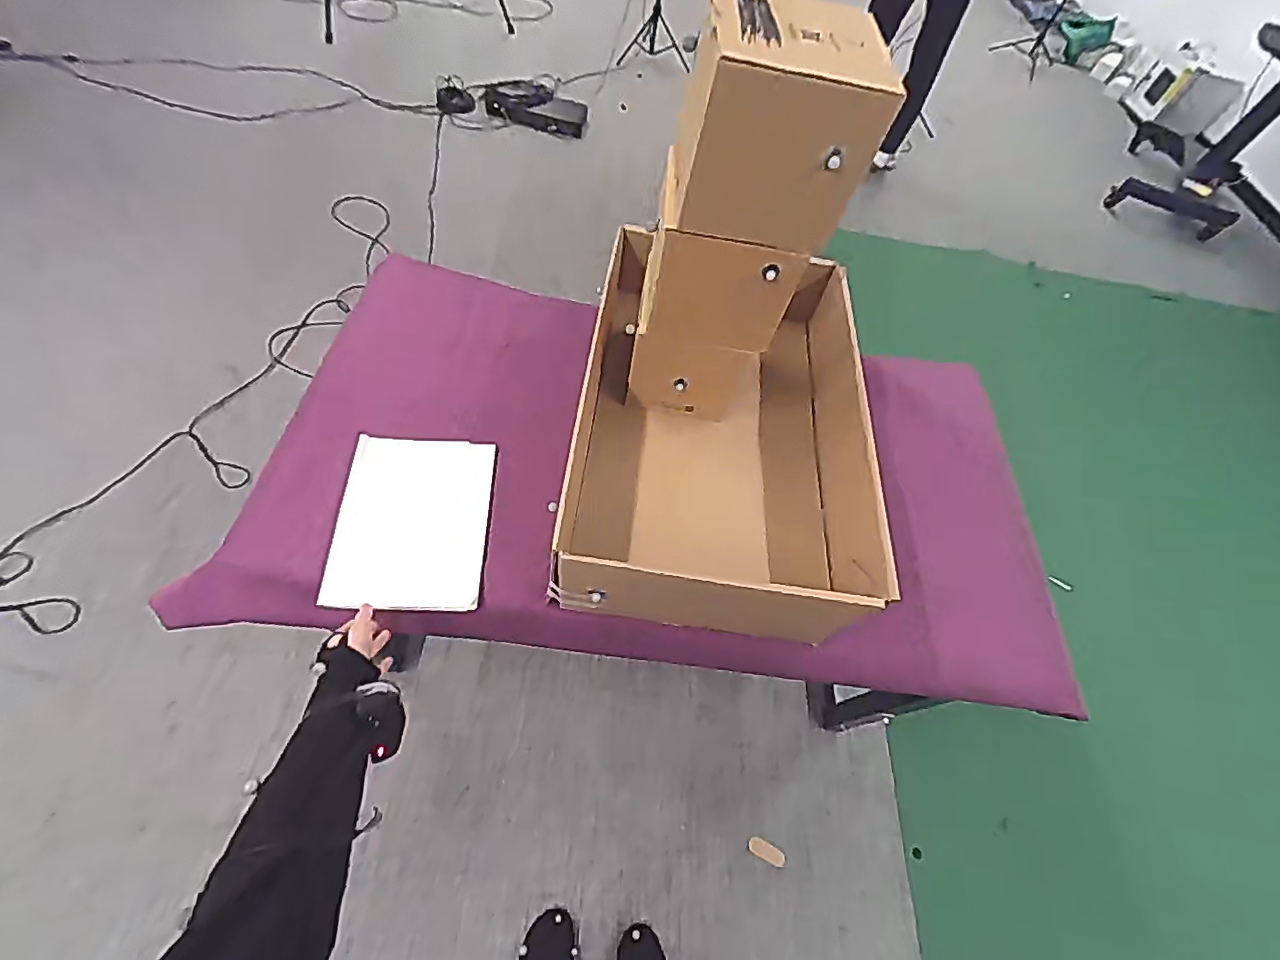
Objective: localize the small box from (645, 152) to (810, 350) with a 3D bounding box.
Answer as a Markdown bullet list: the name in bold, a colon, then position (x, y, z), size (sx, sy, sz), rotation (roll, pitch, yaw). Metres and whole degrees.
- **small box**: position (0.104, -0.295, 0.717), size (0.179, 0.176, 0.168), rotation (7, 60, -5)

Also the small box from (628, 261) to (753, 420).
- **small box**: position (0.076, -0.217, 0.856), size (0.168, 0.176, 0.179), rotation (9, 60, -4)
